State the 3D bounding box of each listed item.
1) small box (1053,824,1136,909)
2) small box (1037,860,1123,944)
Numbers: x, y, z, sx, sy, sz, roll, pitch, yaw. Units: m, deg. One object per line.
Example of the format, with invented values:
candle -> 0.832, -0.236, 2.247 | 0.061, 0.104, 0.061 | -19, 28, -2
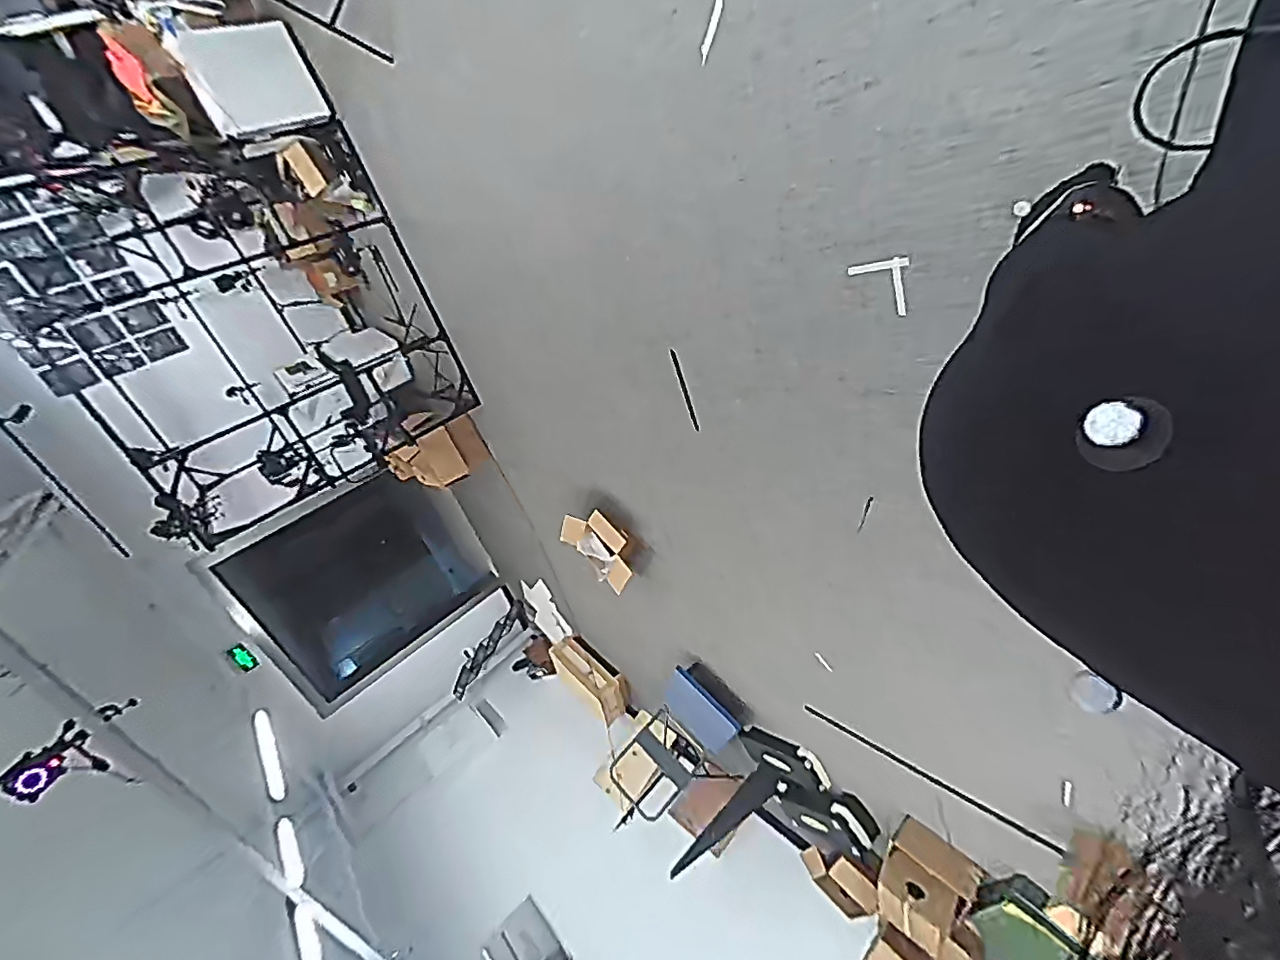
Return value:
small box -> 1.690, 1.421, 2.003 | 0.168, 0.176, 0.179 | 55, 151, 0
small box -> 1.568, 1.496, 1.923 | 0.168, 0.176, 0.179 | 36, 148, 32
